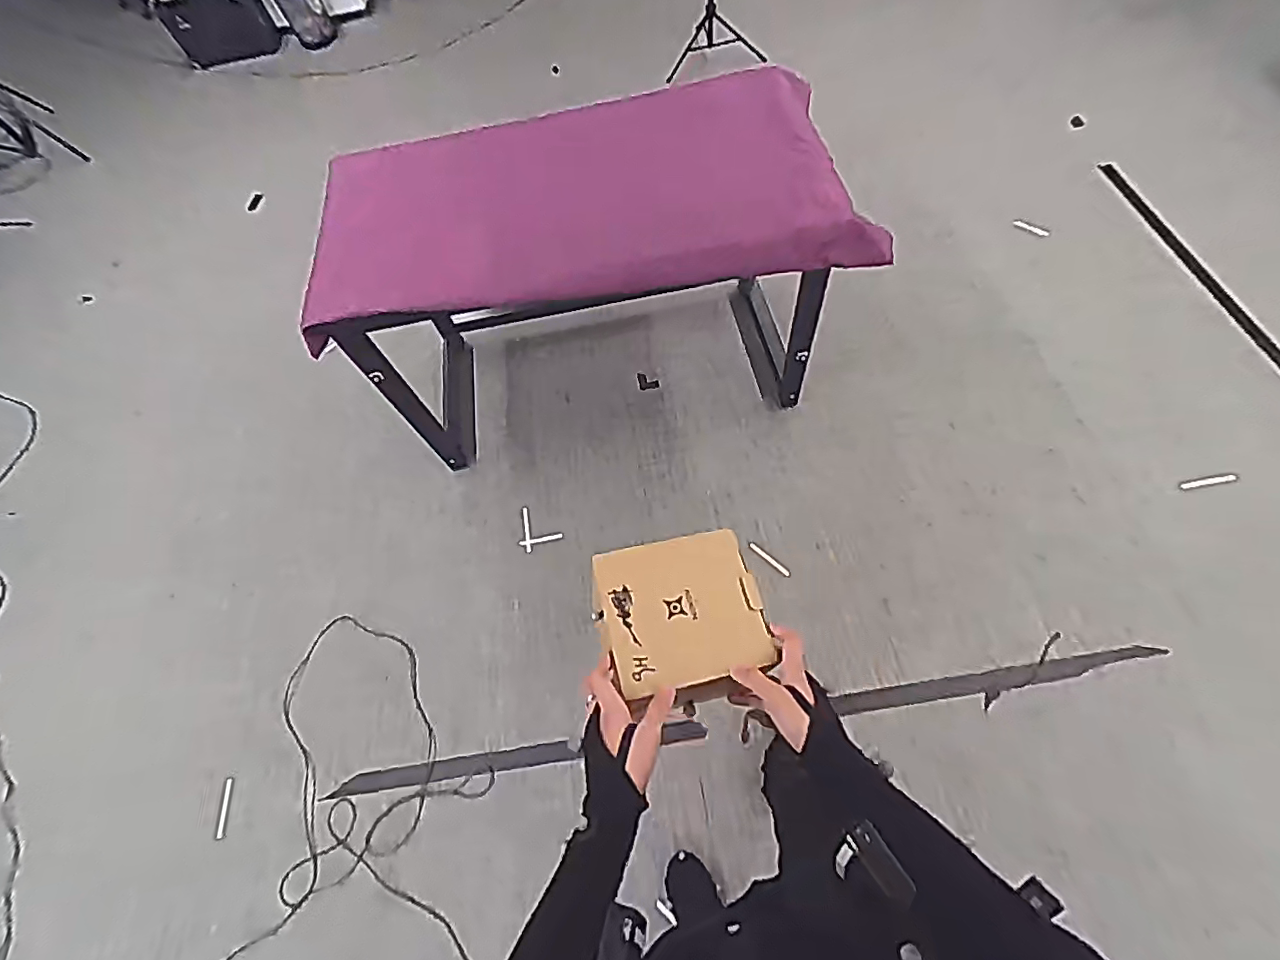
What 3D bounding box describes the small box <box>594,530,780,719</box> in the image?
[{"bbox_3d":[0.043,0.182,0.667,0.179,0.176,0.168,-10,60,-11],"label":"small box"}]
